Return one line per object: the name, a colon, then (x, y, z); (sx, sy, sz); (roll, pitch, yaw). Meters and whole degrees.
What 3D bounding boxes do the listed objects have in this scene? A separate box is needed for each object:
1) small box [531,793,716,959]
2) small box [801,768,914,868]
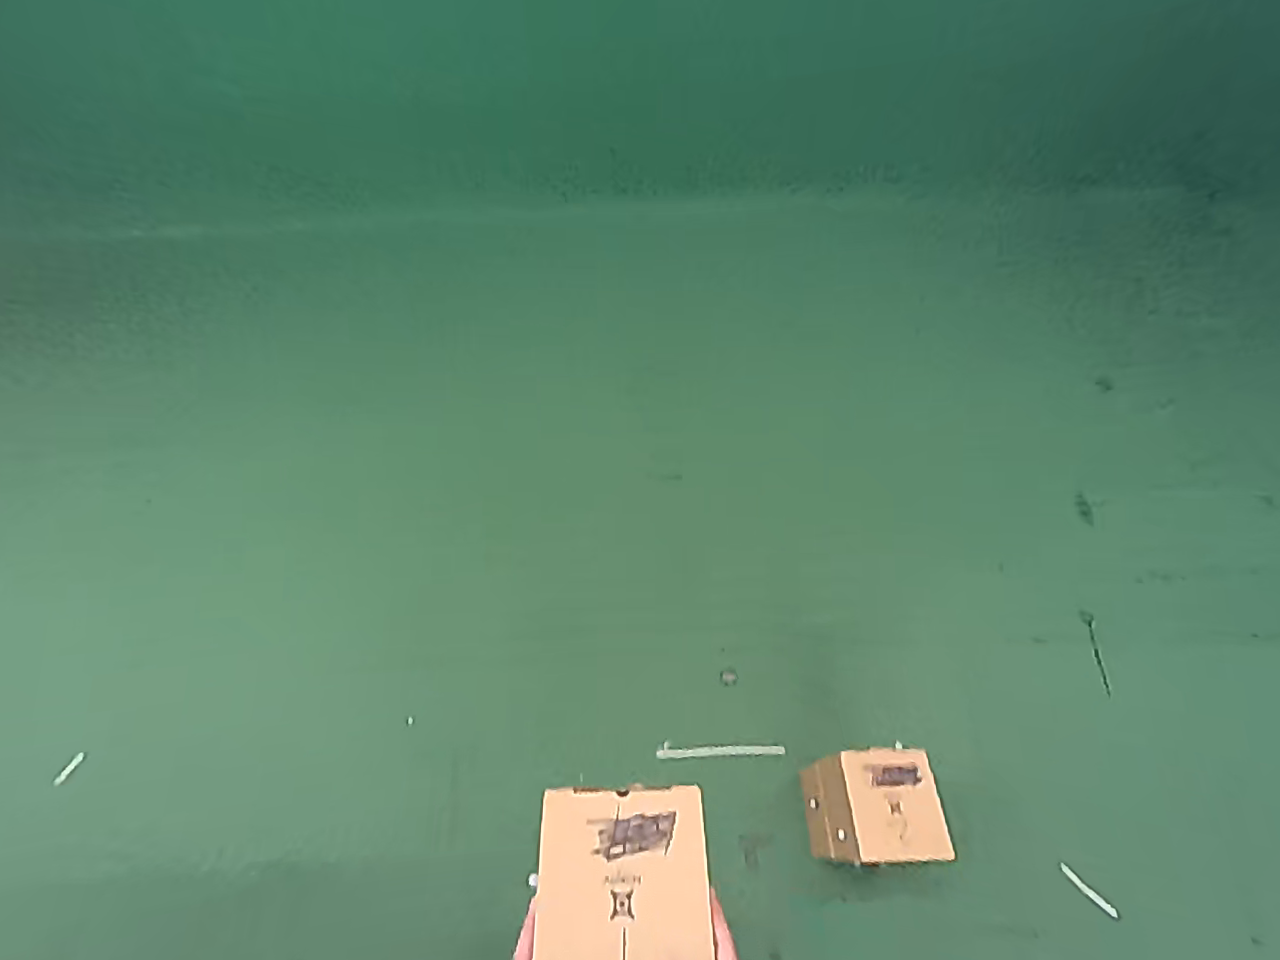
small box: (-0.019, 0.441, 0.561); (0.168, 0.176, 0.179); (0, 52, -2)
small box: (0.461, 0.739, 1.180); (0.168, 0.176, 0.179); (-1, 56, 1)
